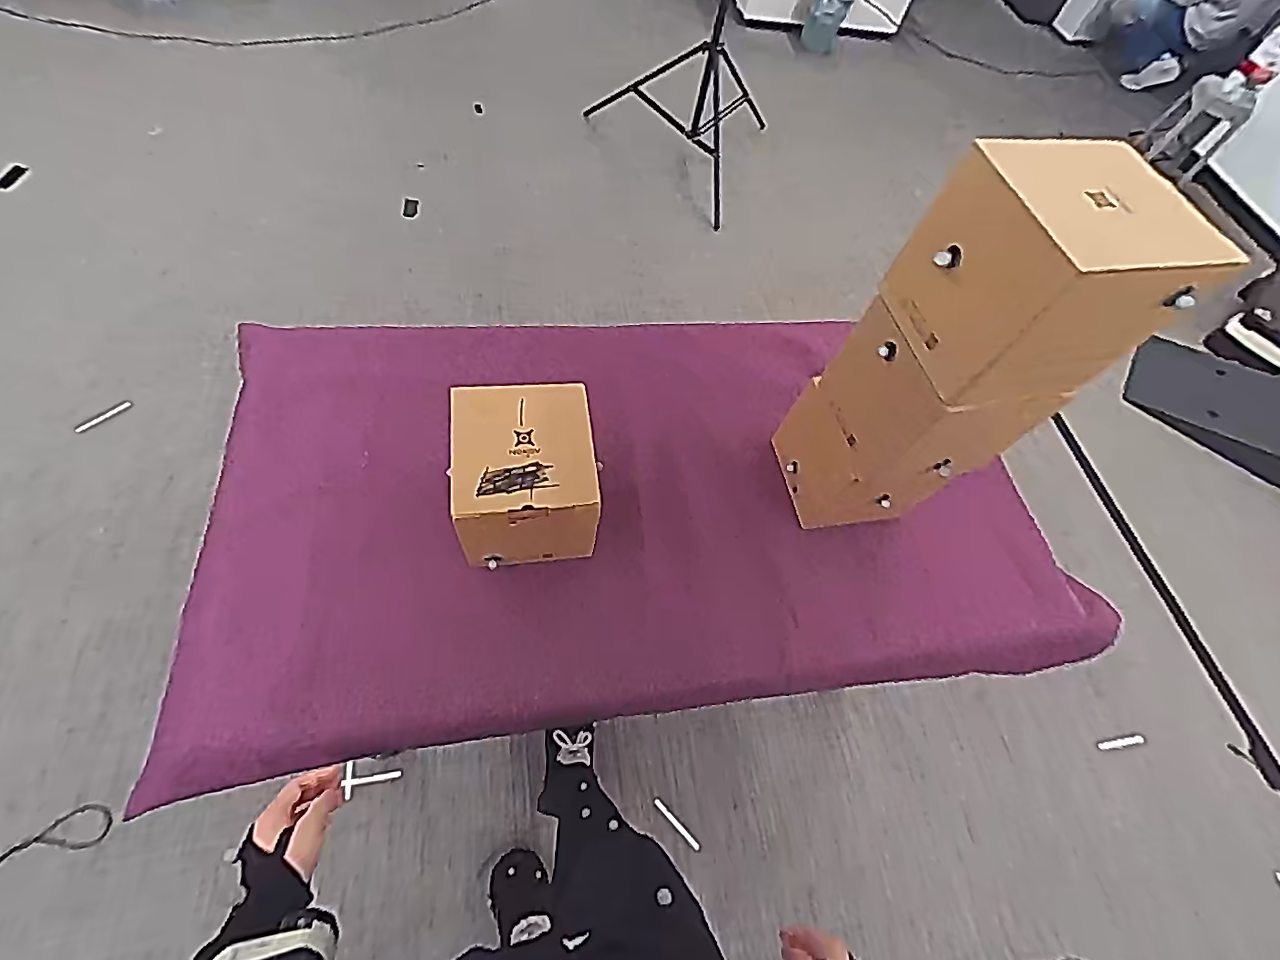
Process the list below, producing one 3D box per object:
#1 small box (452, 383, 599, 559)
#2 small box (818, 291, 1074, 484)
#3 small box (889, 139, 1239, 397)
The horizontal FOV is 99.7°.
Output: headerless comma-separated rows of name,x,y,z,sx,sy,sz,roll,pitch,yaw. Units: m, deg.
small box,-0.147,-0.004,0.706,0.168,0.176,0.179,-4,62,-12
small box,0.353,-0.111,0.660,0.179,0.176,0.168,-8,63,-14
small box,0.373,-0.196,0.522,0.179,0.176,0.168,-8,63,-13
